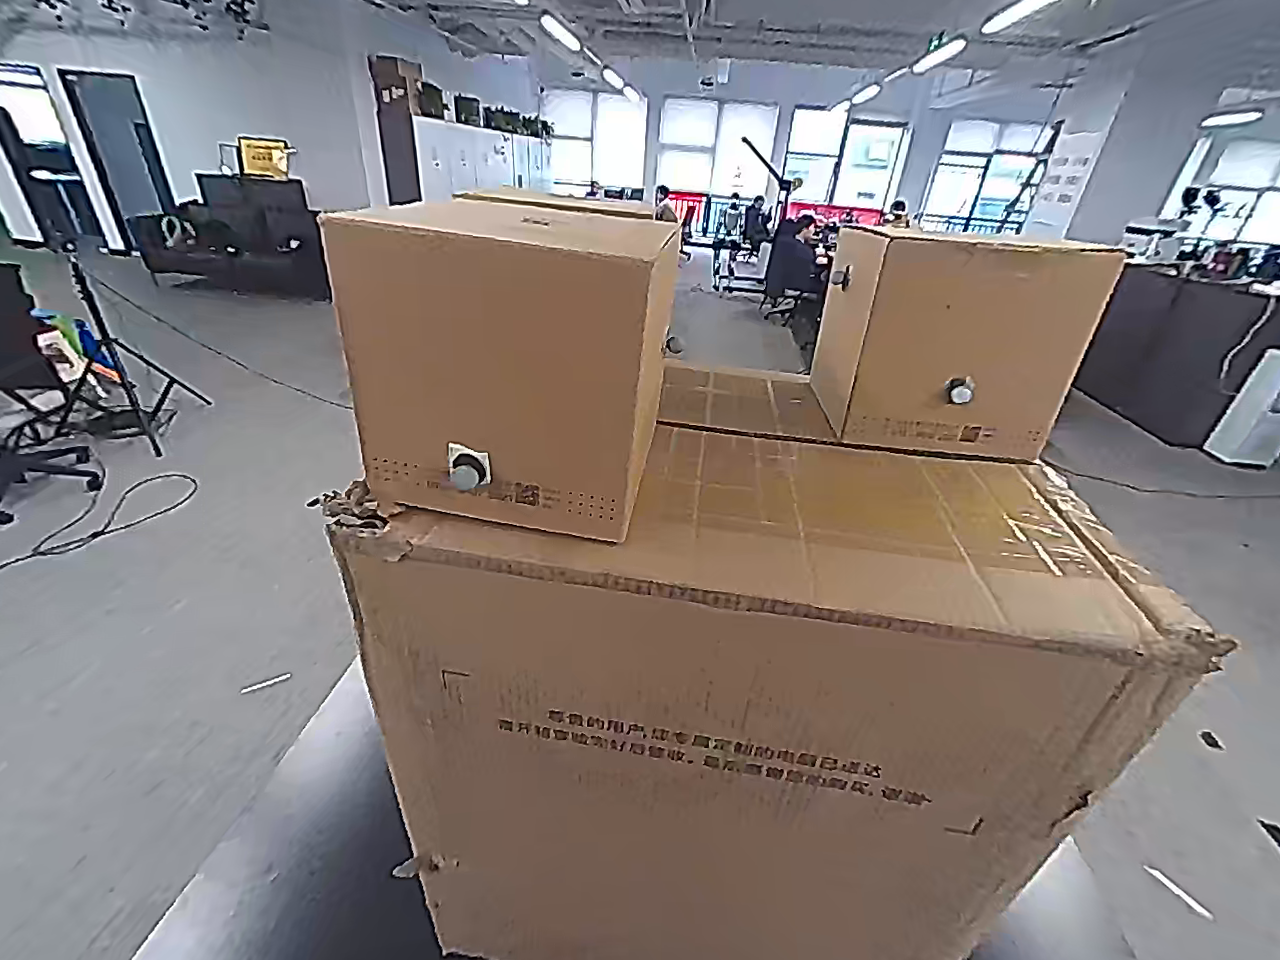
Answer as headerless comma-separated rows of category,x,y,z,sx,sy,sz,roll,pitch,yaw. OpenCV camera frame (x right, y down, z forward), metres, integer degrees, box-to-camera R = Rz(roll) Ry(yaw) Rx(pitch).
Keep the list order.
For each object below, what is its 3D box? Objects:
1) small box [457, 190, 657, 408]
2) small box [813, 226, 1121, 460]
small box,-0.074,-0.187,0.547,0.168,0.176,0.179,5,29,-1
small box,0.269,-0.135,0.502,0.168,0.176,0.179,5,28,5
